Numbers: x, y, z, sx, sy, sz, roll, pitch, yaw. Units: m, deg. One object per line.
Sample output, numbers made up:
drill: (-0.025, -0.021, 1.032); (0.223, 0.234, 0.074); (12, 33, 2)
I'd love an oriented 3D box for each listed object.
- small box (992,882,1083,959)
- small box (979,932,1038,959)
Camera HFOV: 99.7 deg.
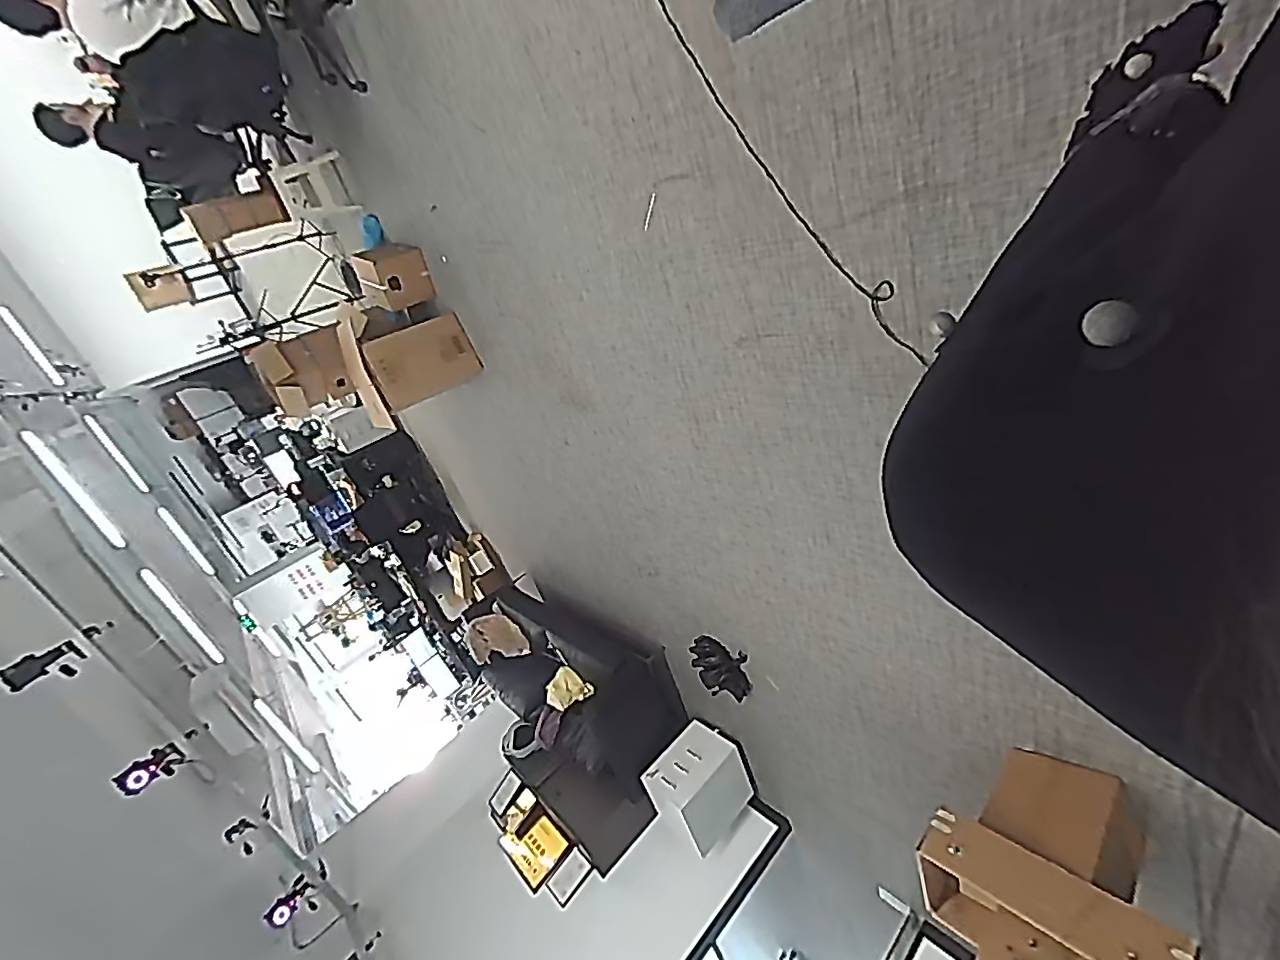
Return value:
small box: (1.154, 1.332, 1.565); (0.168, 0.176, 0.179); (2, 122, 53)
small box: (1.039, 1.417, 1.485); (0.168, 0.176, 0.179); (4, 122, 53)
